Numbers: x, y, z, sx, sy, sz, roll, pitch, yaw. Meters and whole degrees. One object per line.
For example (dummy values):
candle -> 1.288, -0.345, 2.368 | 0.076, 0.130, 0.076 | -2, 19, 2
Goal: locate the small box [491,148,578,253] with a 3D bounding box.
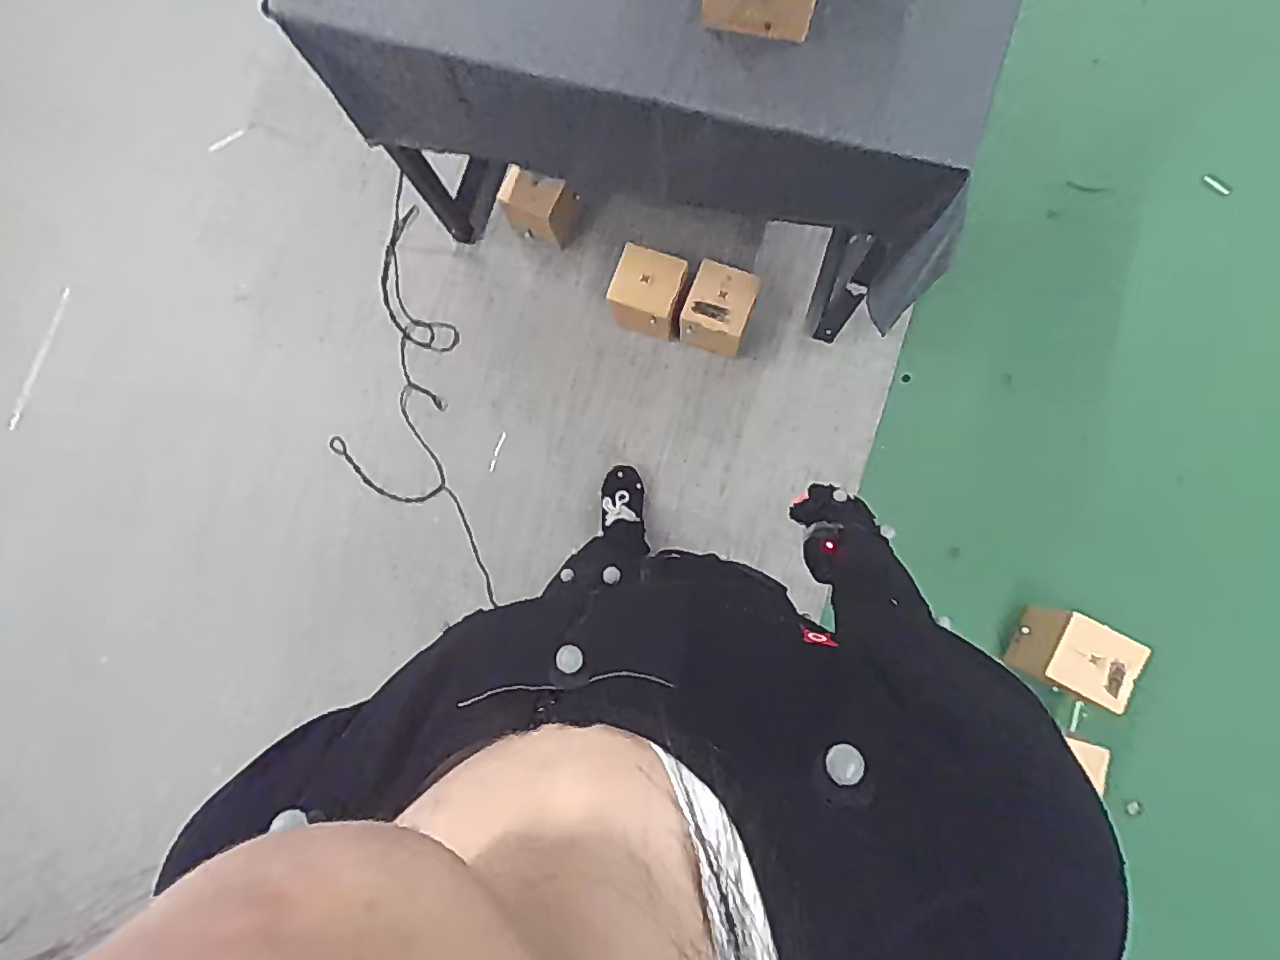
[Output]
small box -> -0.291, -0.791, 1.542 | 0.168, 0.176, 0.179 | 25, 85, 8

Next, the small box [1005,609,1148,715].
small box -> 1.029, 0.421, 1.291 | 0.179, 0.176, 0.168 | 28, 85, 8

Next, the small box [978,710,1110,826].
small box -> 0.934, 0.660, 1.265 | 0.179, 0.176, 0.168 | 15, 85, 6

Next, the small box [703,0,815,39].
small box -> 0.189, -0.786, 0.773 | 0.168, 0.176, 0.179 | 15, 84, 6
